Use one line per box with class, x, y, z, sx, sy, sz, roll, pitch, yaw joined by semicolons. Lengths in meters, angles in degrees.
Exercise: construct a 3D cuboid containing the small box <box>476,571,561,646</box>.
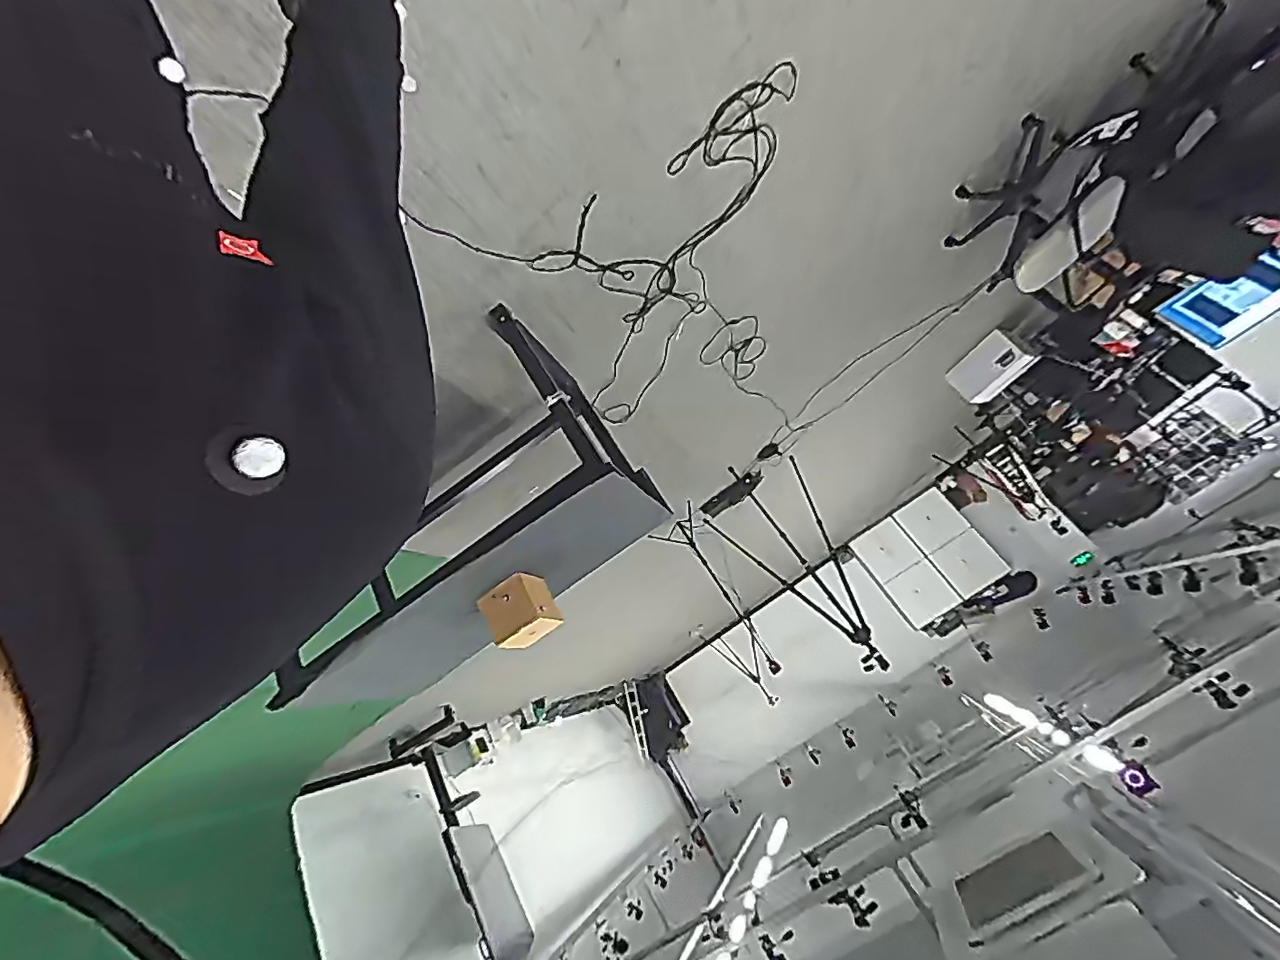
small box;-0.387;0.409;1.720;0.168;0.176;0.179;-36;155;5
